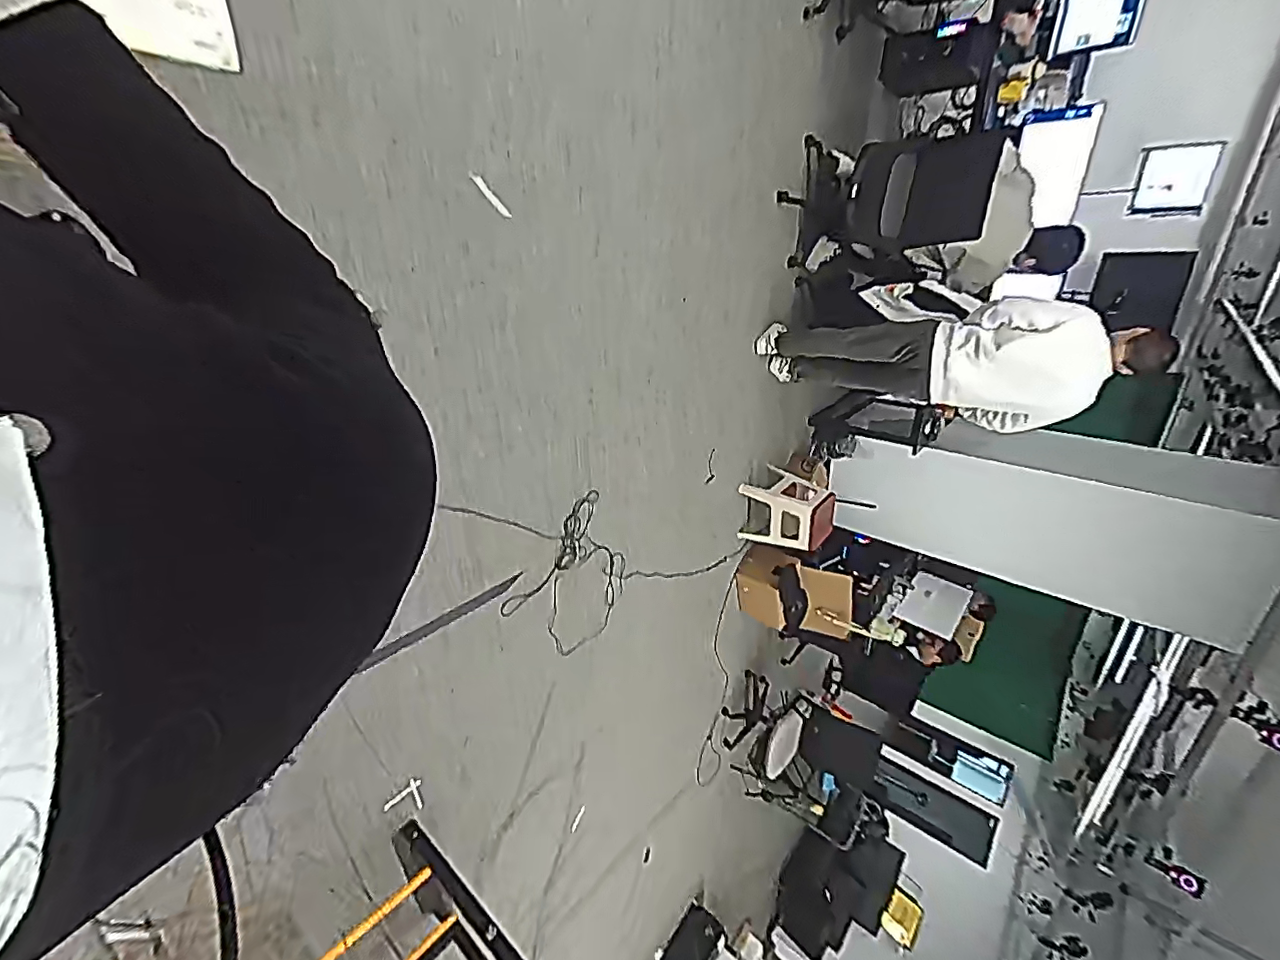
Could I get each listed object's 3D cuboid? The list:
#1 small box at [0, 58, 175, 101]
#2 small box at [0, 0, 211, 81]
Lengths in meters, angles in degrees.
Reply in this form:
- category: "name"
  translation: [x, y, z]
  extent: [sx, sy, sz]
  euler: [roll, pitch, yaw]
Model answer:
- category: "small box"
  translation: [-0.653, -0.520, 0.575]
  extent: [0.179, 0.176, 0.168]
  euler: [-30, 127, -43]
- category: "small box"
  translation: [-0.529, -0.485, 0.476]
  extent: [0.168, 0.176, 0.179]
  euler: [-28, 126, -45]
